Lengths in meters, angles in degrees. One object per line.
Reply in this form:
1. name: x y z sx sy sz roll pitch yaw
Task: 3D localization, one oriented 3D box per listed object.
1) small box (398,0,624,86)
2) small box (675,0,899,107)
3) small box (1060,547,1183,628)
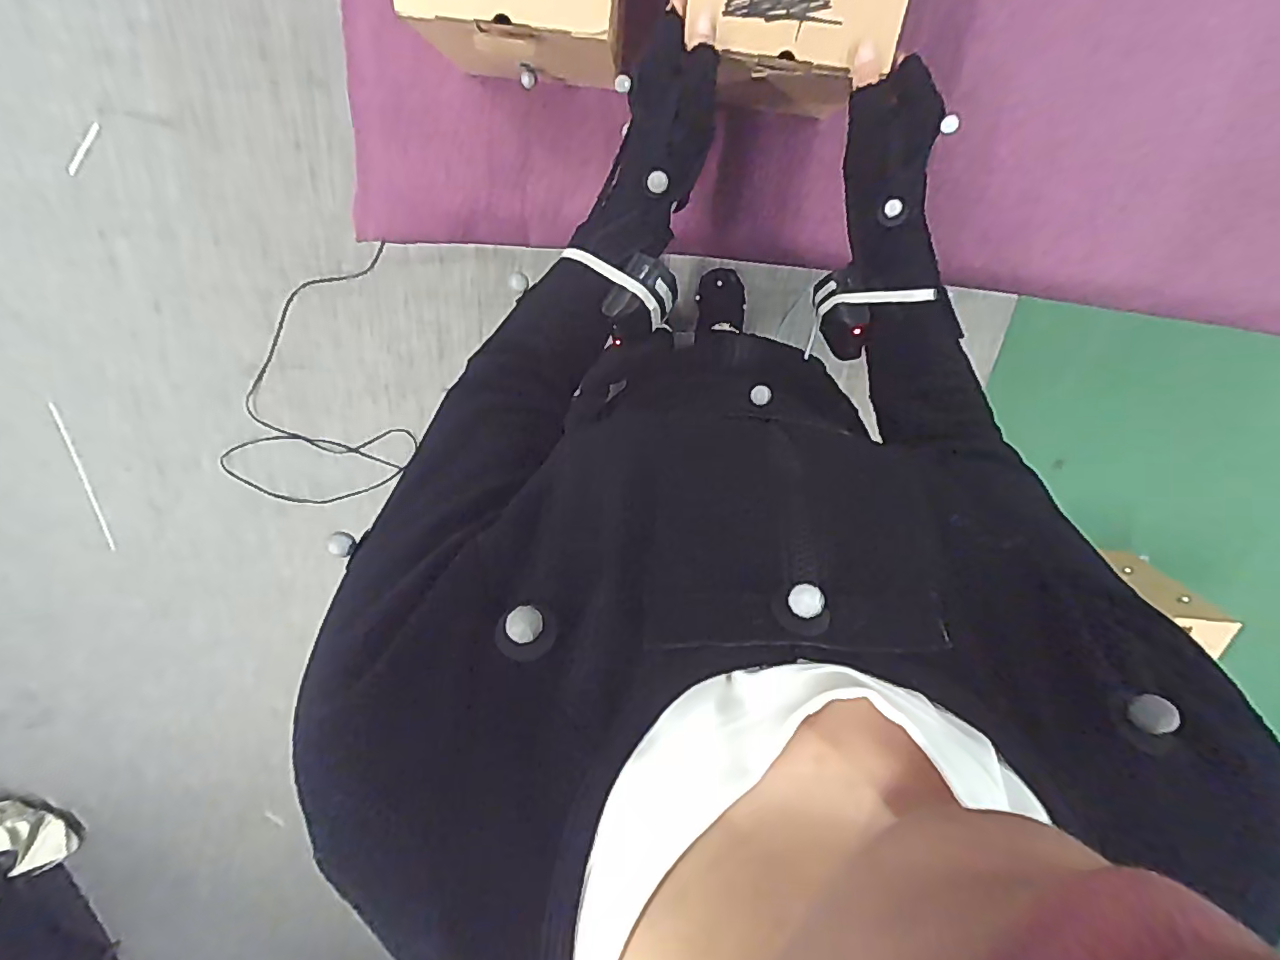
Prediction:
1. small box: -0.097 -0.464 0.452 0.168 0.176 0.179 6 115 -1
2. small box: 0.122 -0.442 0.460 0.168 0.176 0.179 7 114 -2
3. small box: 1.402 0.311 1.587 0.179 0.176 0.168 5 115 -1
